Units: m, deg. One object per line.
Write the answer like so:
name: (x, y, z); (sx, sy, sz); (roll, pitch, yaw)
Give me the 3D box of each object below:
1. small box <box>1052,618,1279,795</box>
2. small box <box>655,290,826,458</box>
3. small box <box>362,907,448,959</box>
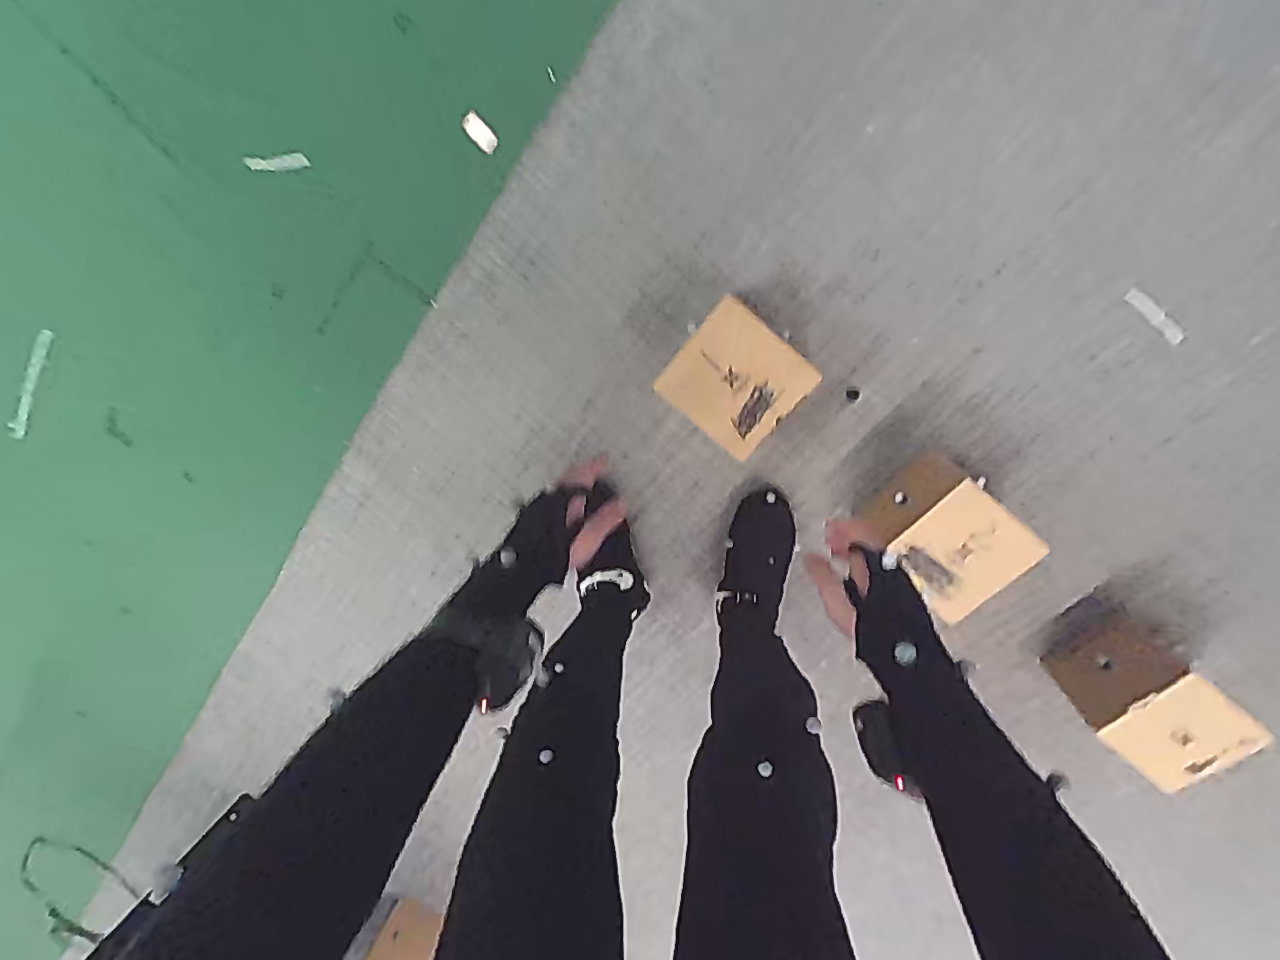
small box: (0.831, 0.352, 0.875); (0.179, 0.176, 0.168); (39, 112, -5)
small box: (0.150, -0.167, 0.814); (0.179, 0.176, 0.168); (40, 111, -4)
small box: (-0.680, 1.352, 1.521); (0.179, 0.176, 0.168); (32, 113, -3)
